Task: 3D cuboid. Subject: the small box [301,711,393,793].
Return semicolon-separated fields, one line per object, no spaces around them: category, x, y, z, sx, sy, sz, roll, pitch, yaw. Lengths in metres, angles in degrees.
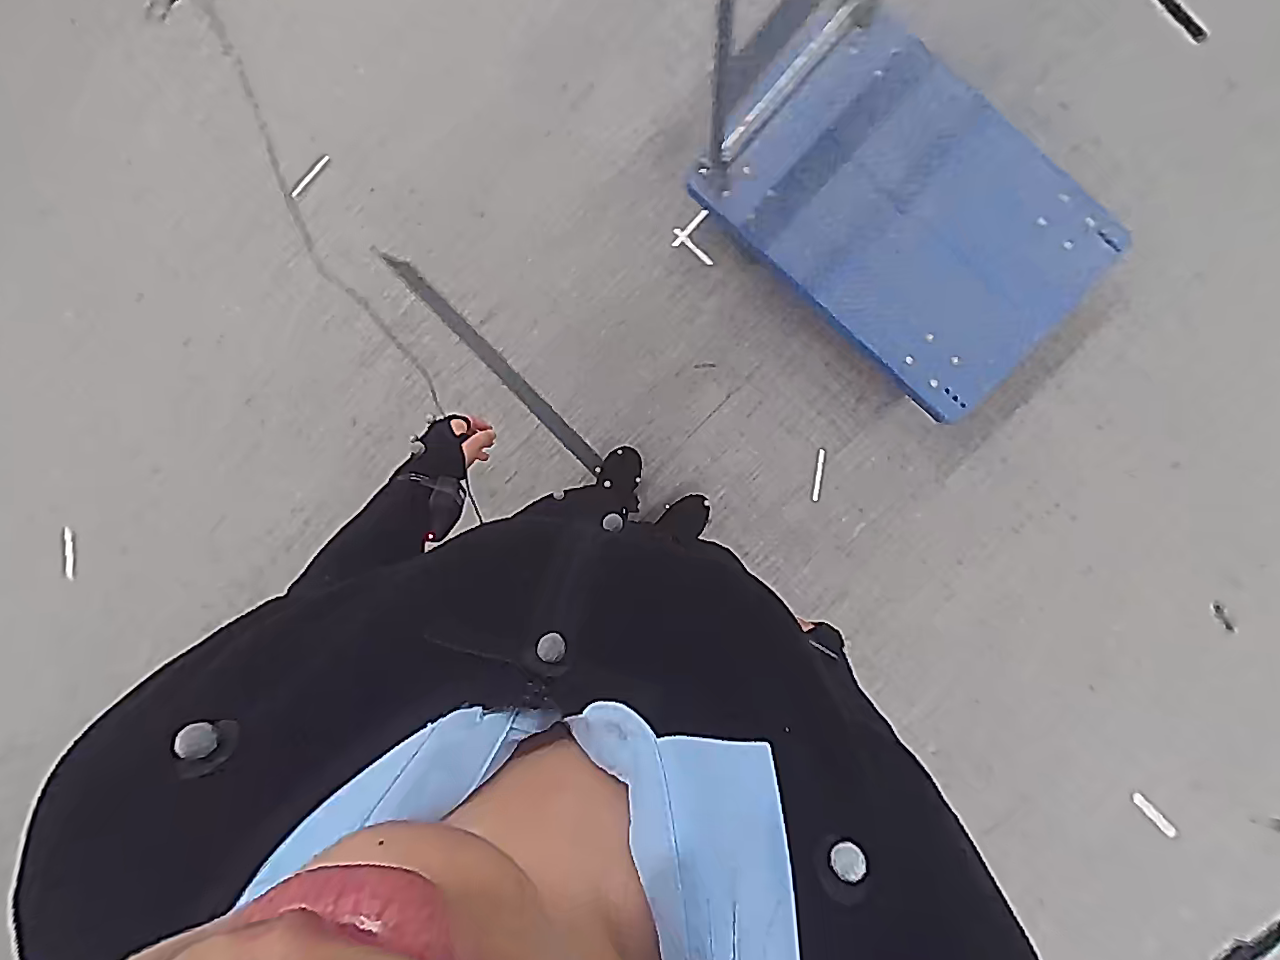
small box;-0.817;0.780;1.484;0.168;0.176;0.179;33;94;0
